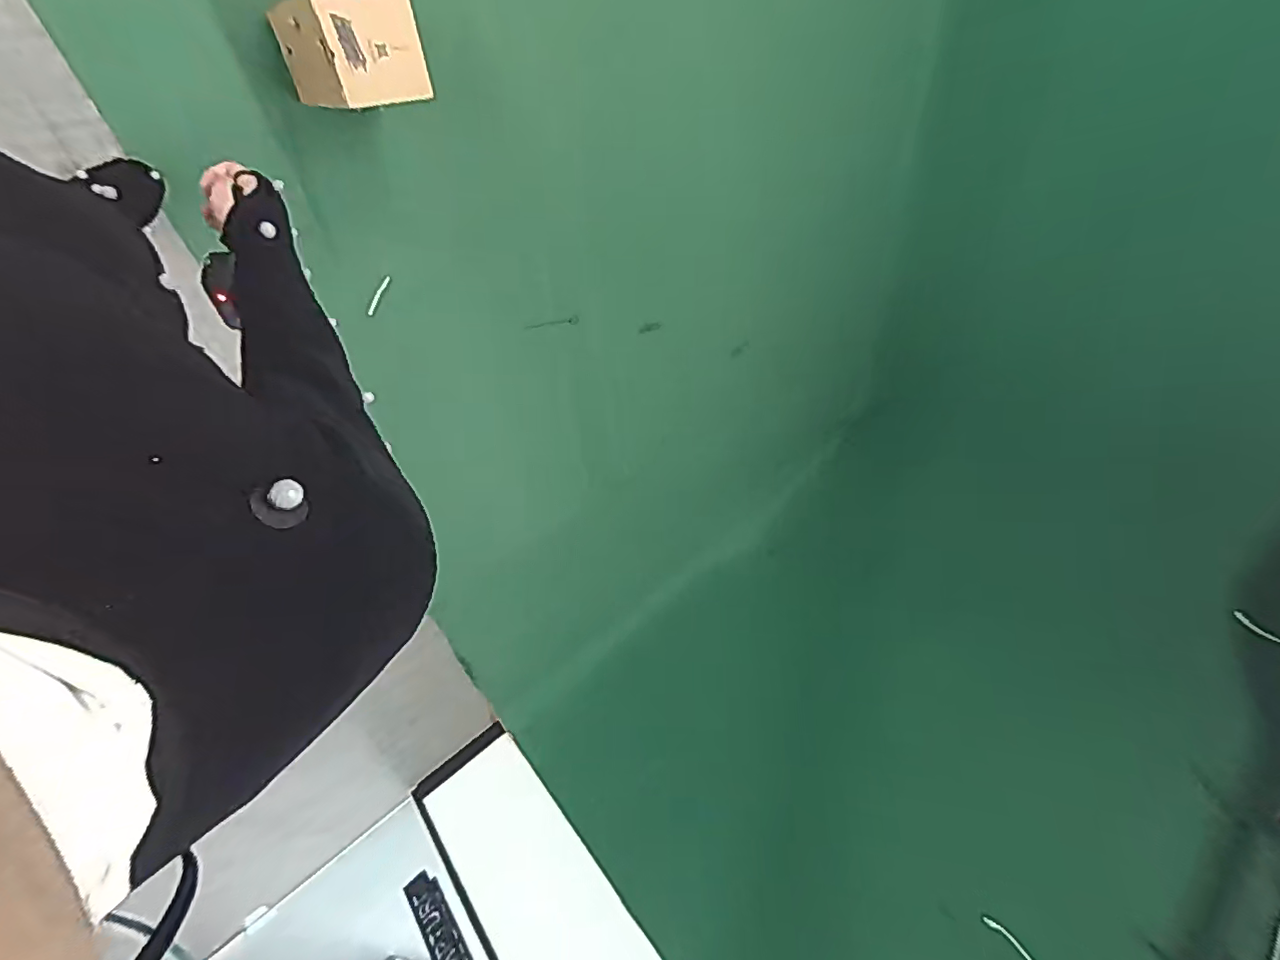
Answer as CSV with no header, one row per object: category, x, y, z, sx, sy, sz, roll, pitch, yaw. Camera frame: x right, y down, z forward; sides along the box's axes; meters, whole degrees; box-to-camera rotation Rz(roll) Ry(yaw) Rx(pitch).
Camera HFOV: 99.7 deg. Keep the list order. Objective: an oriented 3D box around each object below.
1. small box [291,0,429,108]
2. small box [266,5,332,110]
small box,-0.547,-0.830,1.052,0.179,0.176,0.168,-31,136,-28
small box,-0.653,-0.904,1.153,0.179,0.176,0.168,-31,136,-27
